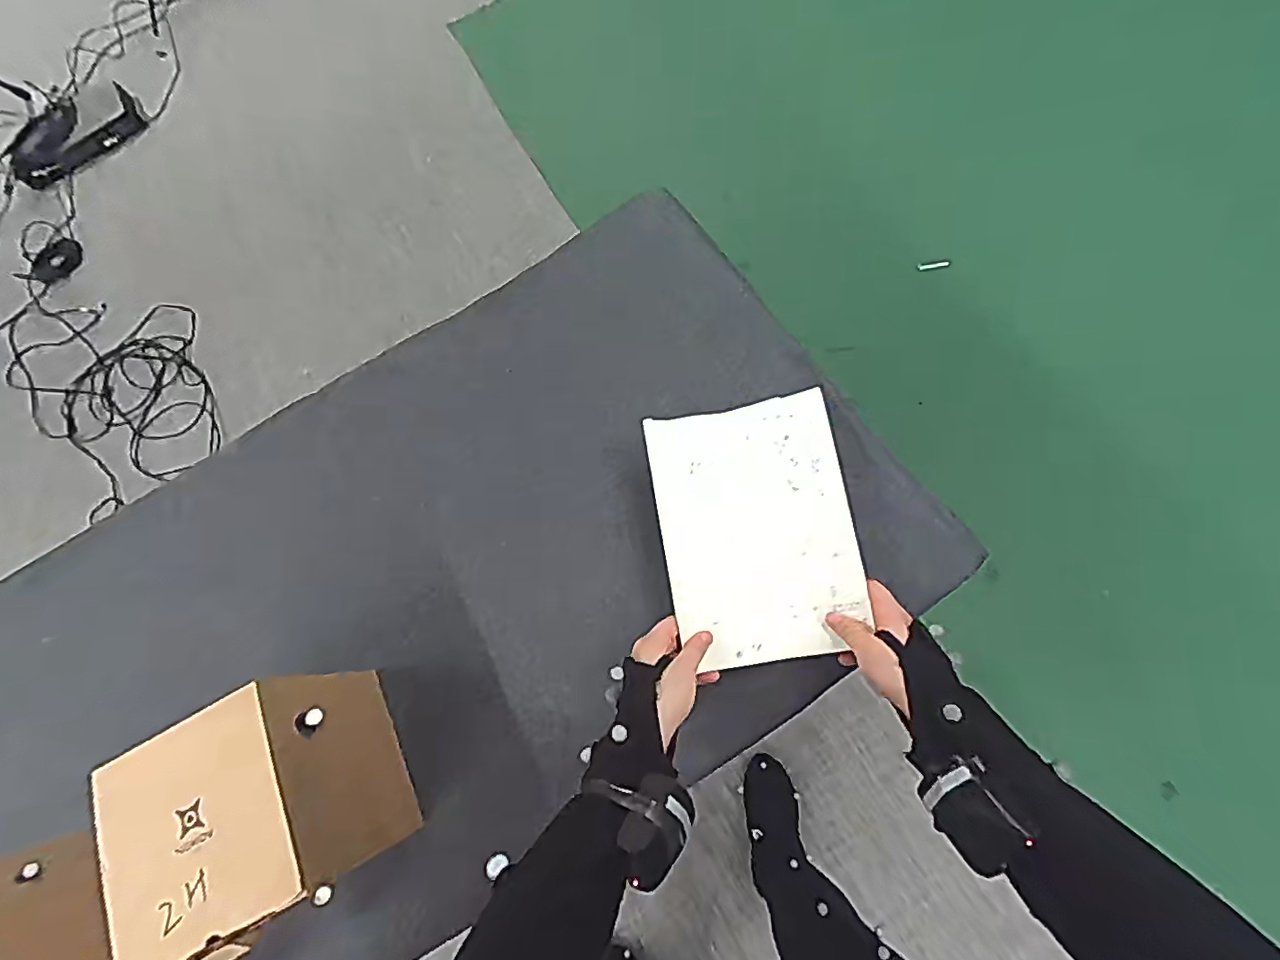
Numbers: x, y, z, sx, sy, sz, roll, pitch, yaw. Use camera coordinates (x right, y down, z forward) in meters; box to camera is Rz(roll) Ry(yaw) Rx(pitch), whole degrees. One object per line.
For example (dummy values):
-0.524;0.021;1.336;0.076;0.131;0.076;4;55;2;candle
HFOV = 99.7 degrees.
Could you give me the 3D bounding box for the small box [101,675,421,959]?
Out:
-0.347;0.304;0.520;0.168;0.176;0.179;-30;72;1;small box
